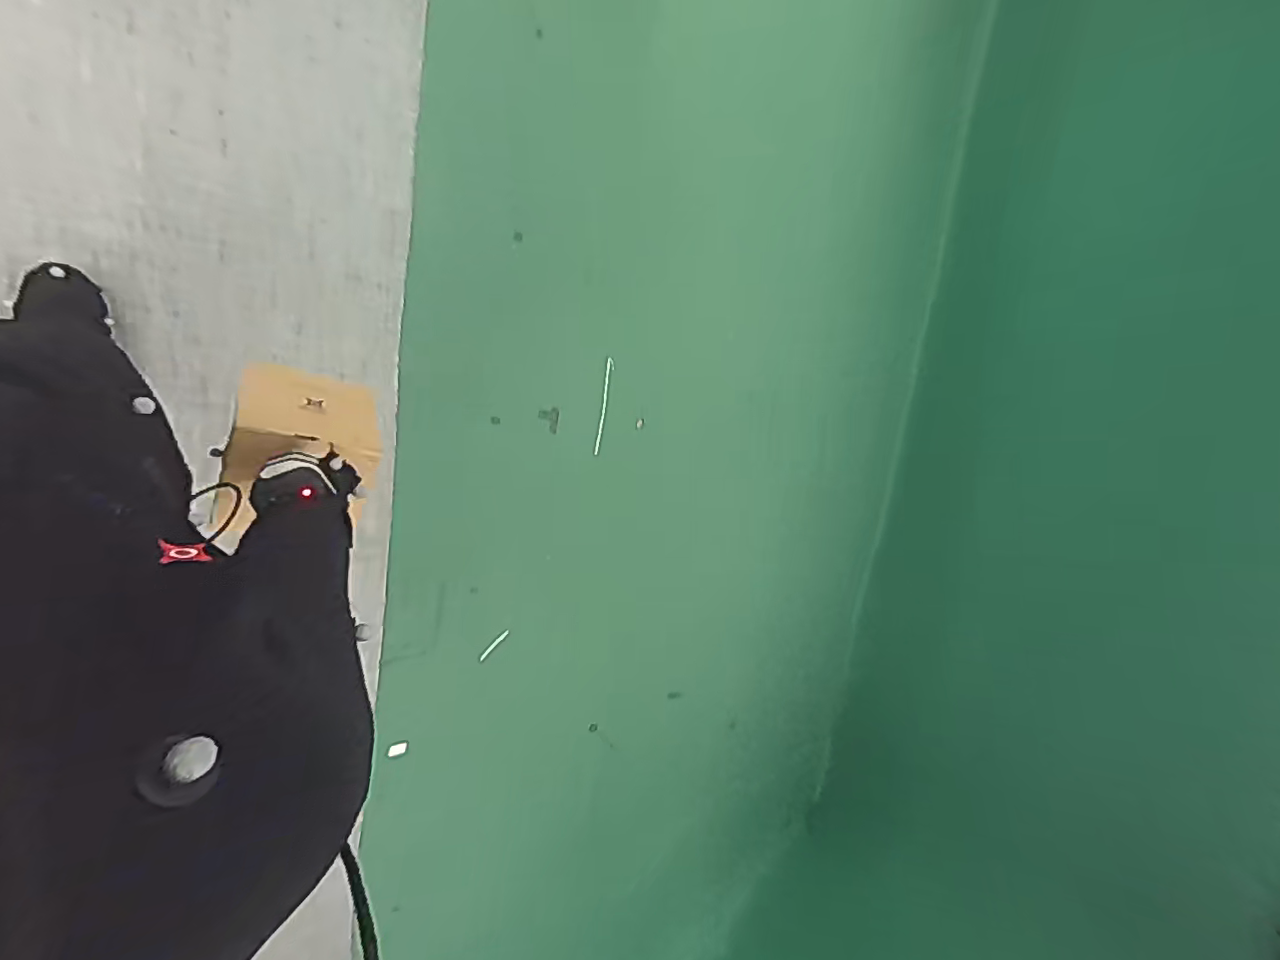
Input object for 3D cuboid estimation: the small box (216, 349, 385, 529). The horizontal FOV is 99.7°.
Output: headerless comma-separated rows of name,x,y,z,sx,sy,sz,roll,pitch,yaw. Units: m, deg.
small box,-0.473,-0.051,0.758,0.168,0.179,0.176,12,119,-38
